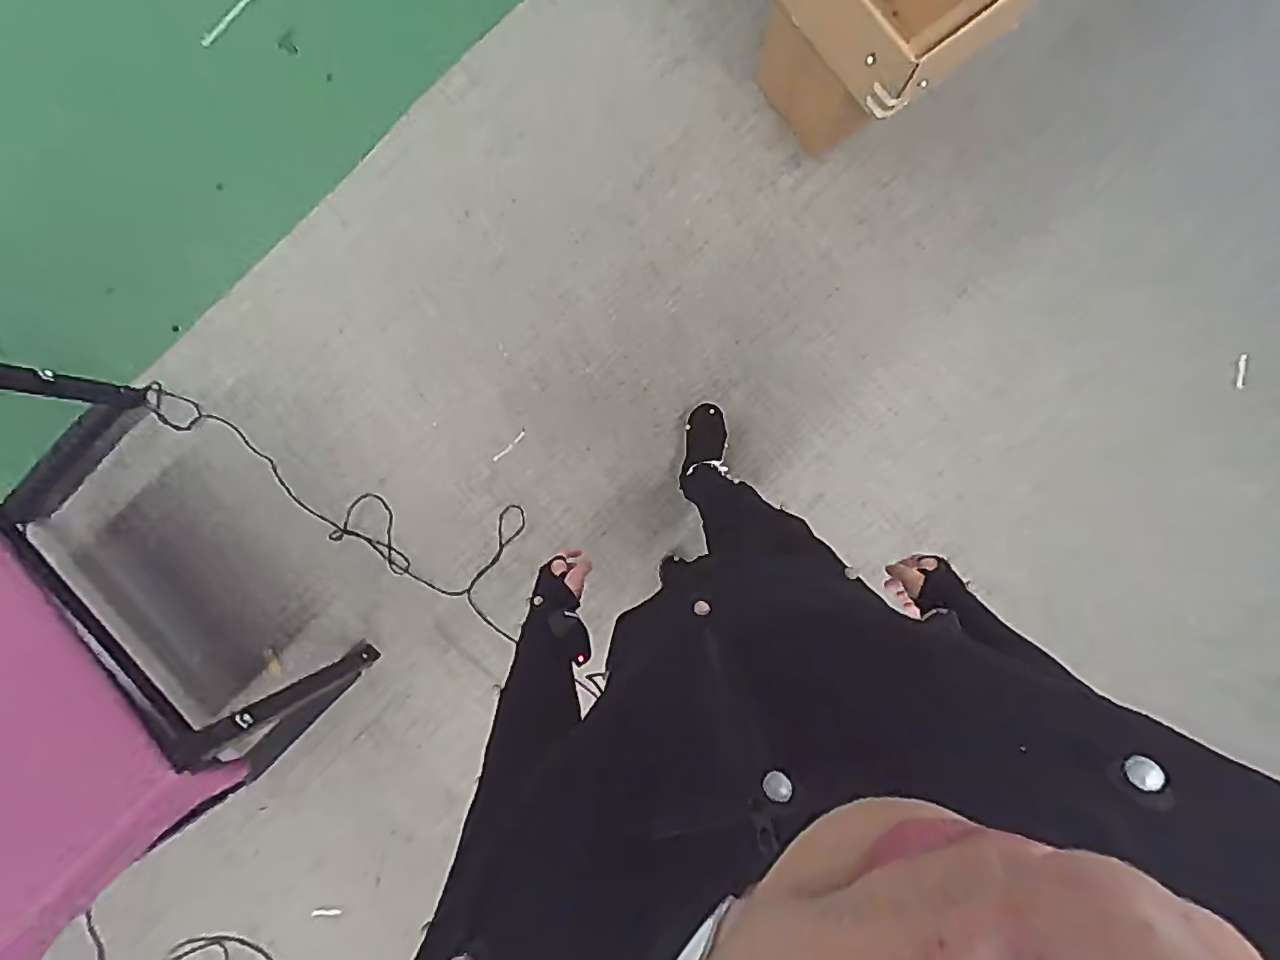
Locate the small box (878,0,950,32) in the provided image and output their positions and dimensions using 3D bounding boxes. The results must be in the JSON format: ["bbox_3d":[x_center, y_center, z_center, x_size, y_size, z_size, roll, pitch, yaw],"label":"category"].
[{"bbox_3d":[0.603,-1.100,1.114,0.179,0.176,0.168,-37,88,3],"label":"small box"}]
